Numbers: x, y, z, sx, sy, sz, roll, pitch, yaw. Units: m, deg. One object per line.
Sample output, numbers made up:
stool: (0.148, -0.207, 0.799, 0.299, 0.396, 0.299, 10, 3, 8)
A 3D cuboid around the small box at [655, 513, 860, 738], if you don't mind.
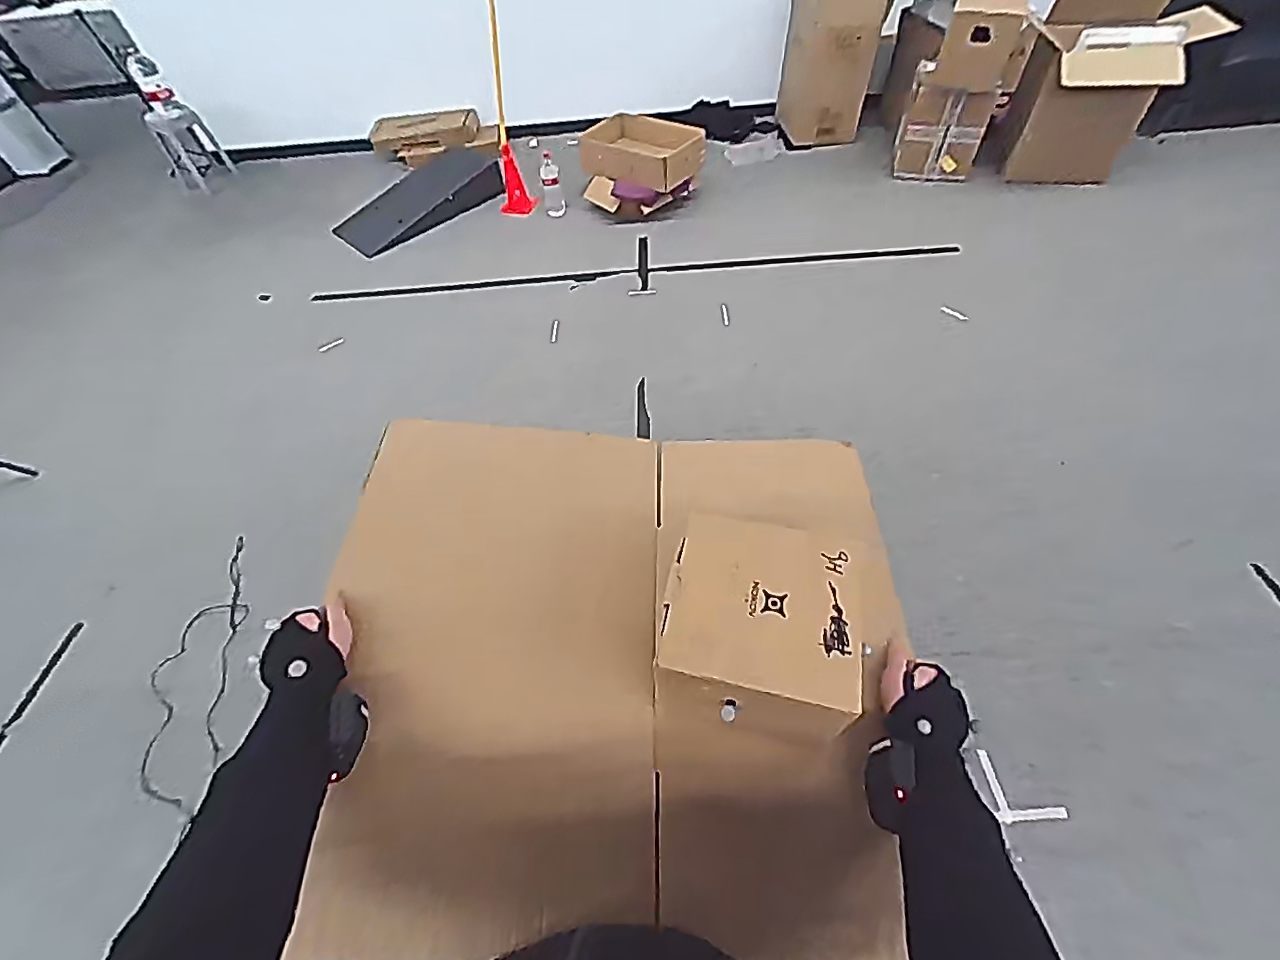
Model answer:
small box: (0.123, 0.158, 0.575, 0.179, 0.176, 0.168, 9, 56, 12)
